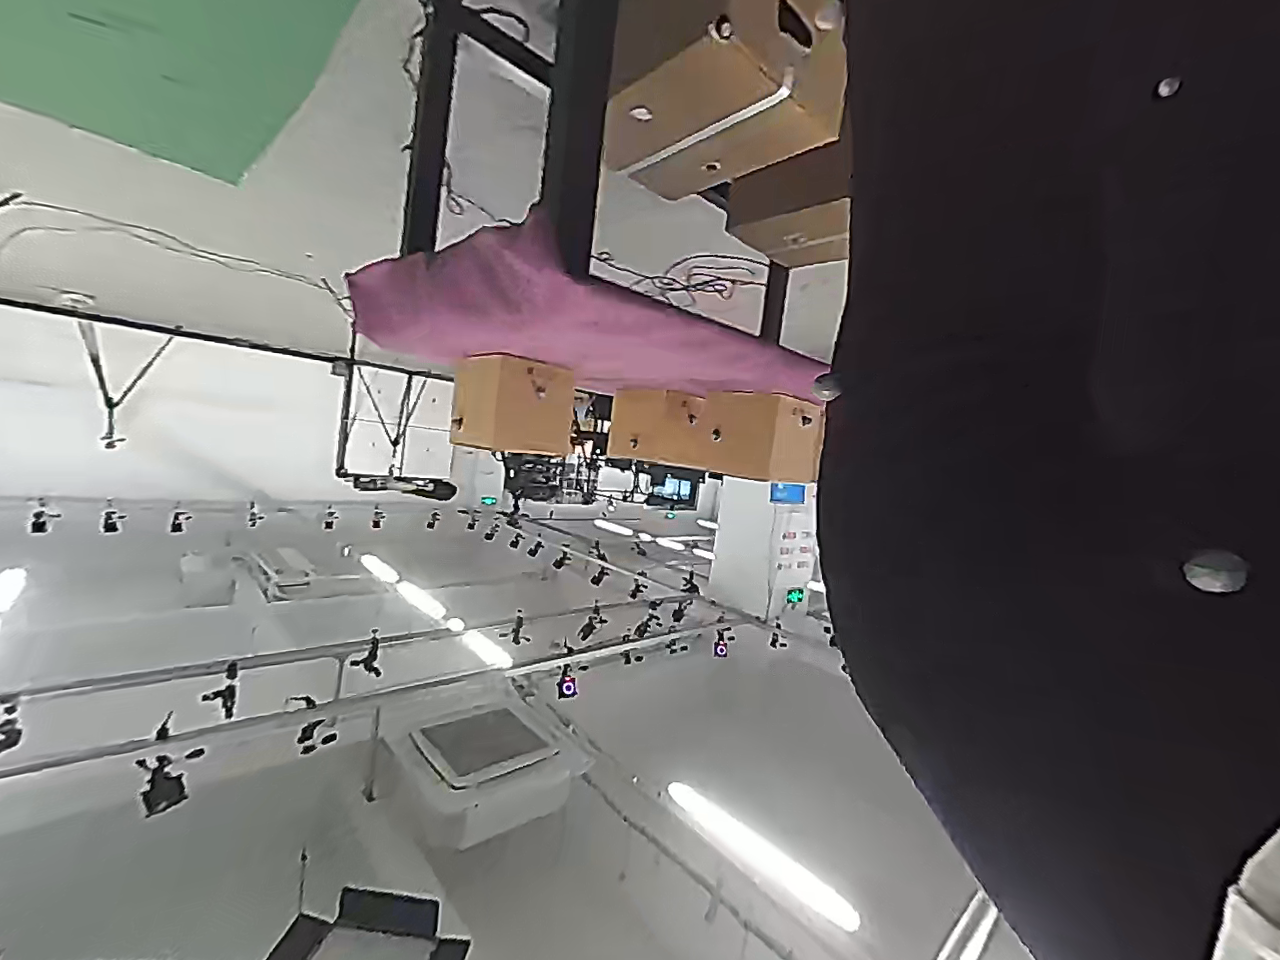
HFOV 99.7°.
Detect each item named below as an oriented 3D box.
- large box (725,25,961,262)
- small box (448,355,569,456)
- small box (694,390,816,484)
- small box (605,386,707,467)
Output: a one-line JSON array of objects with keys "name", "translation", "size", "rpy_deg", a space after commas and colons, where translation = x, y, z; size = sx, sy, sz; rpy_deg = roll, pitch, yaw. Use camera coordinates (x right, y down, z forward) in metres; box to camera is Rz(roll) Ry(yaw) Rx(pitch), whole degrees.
[{"name": "large box", "translation": [0.466, -0.742, 1.273], "size": [0.320, 0.320, 0.408], "rpy_deg": [4, -174, -43]}, {"name": "small box", "translation": [-0.251, -0.142, 1.043], "size": [0.168, 0.176, 0.179], "rpy_deg": [1, -174, -44]}, {"name": "small box", "translation": [0.238, -0.090, 1.108], "size": [0.168, 0.176, 0.179], "rpy_deg": [2, -173, -45]}, {"name": "small box", "translation": [0.041, -0.128, 1.296], "size": [0.179, 0.176, 0.168], "rpy_deg": [9, -176, 45]}]
